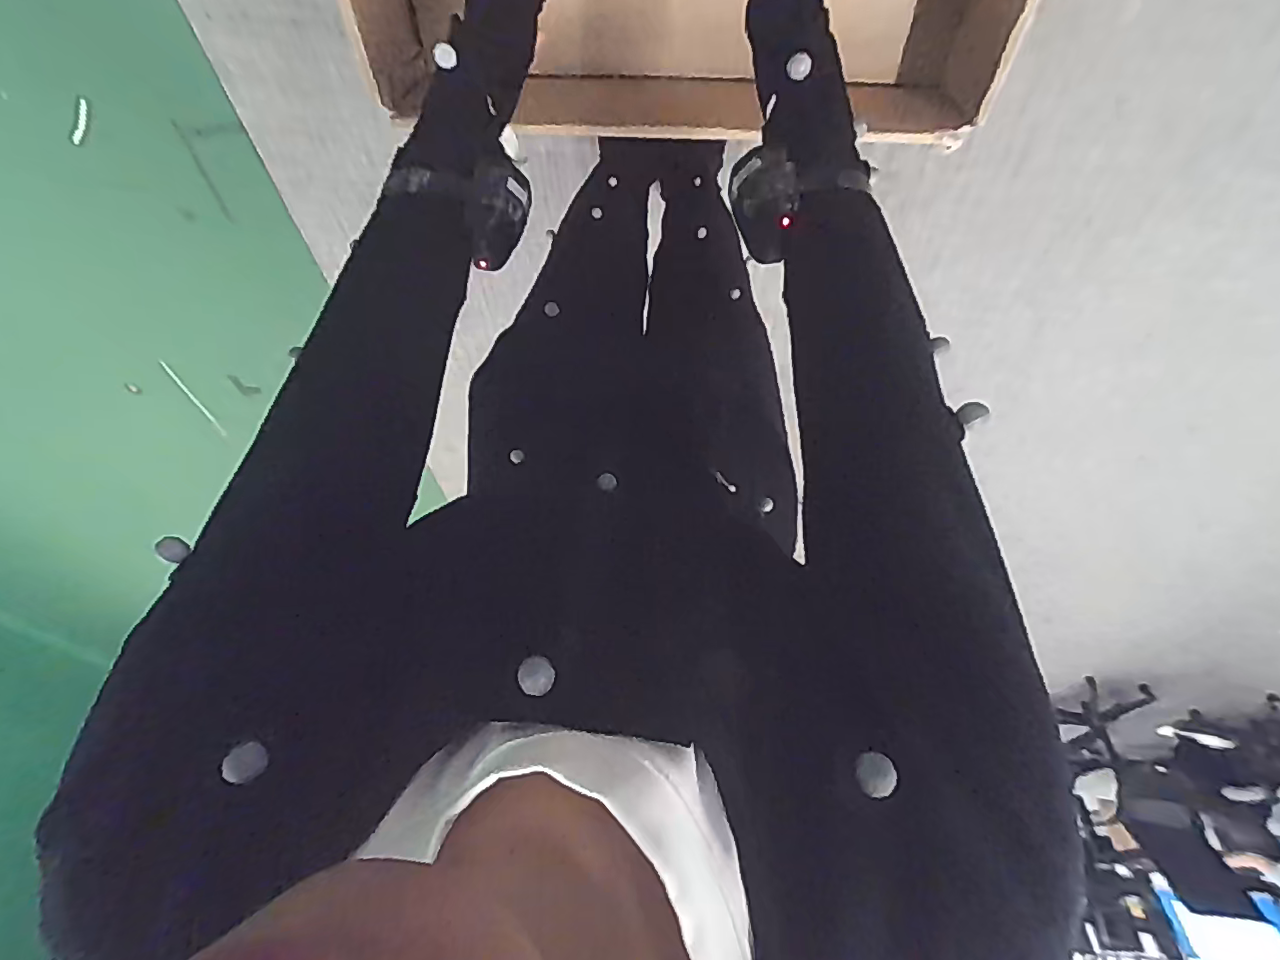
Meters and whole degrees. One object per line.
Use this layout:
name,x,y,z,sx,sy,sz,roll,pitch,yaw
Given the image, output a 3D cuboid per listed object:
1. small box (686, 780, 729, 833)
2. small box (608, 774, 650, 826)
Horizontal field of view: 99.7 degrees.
small box,0.286,1.380,2.287,0.179,0.176,0.168,0,141,8
small box,-0.044,1.371,2.316,0.168,0.176,0.179,1,141,5
